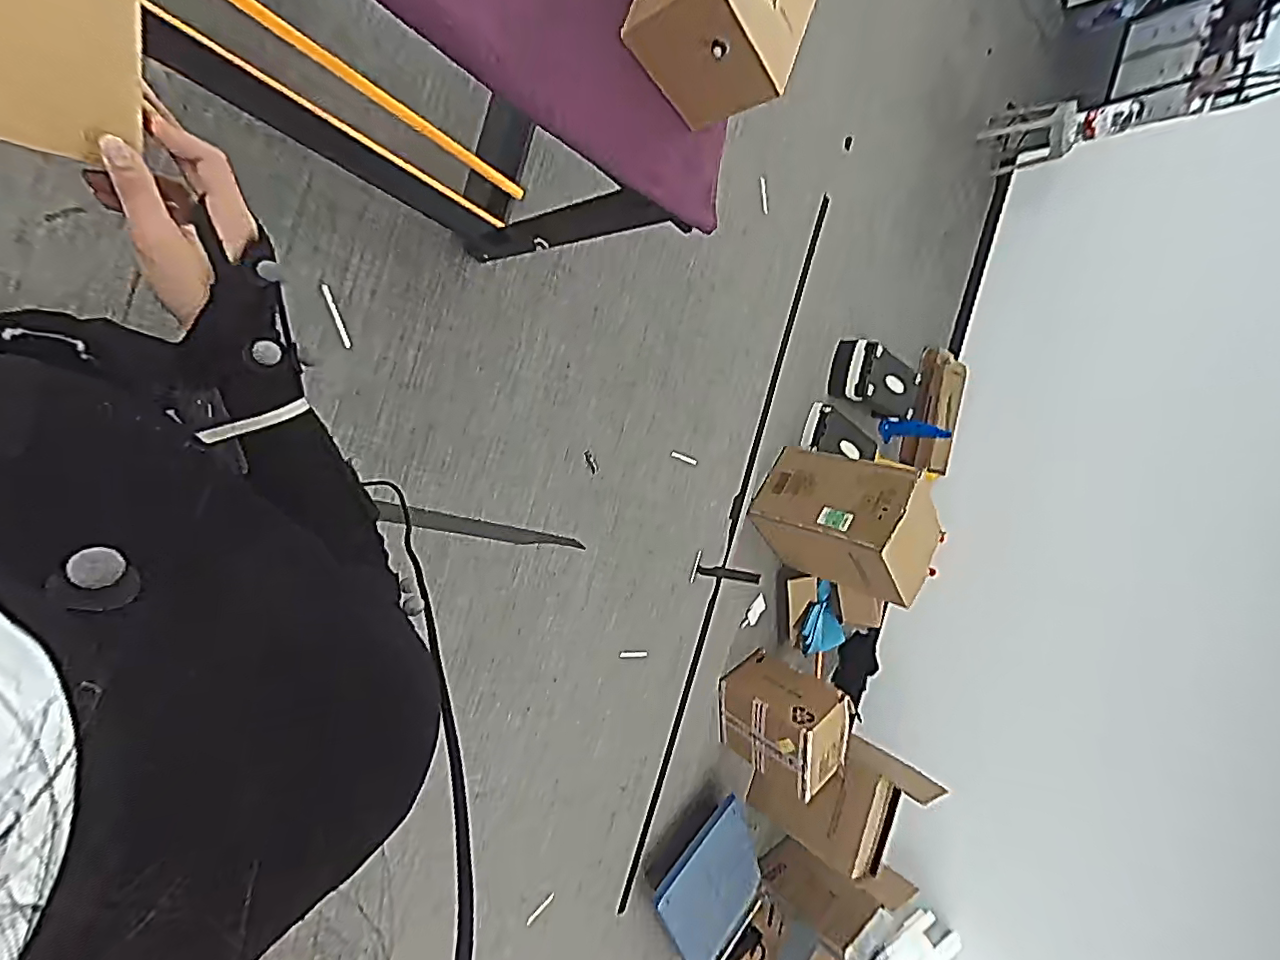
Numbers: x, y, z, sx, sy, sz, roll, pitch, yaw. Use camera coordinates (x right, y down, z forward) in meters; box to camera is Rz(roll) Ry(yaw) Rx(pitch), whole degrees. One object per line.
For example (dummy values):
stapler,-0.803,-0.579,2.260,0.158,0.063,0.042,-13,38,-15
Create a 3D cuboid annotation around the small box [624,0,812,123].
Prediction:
small box,0.106,-0.643,0.751,0.179,0.176,0.168,25,82,-45
